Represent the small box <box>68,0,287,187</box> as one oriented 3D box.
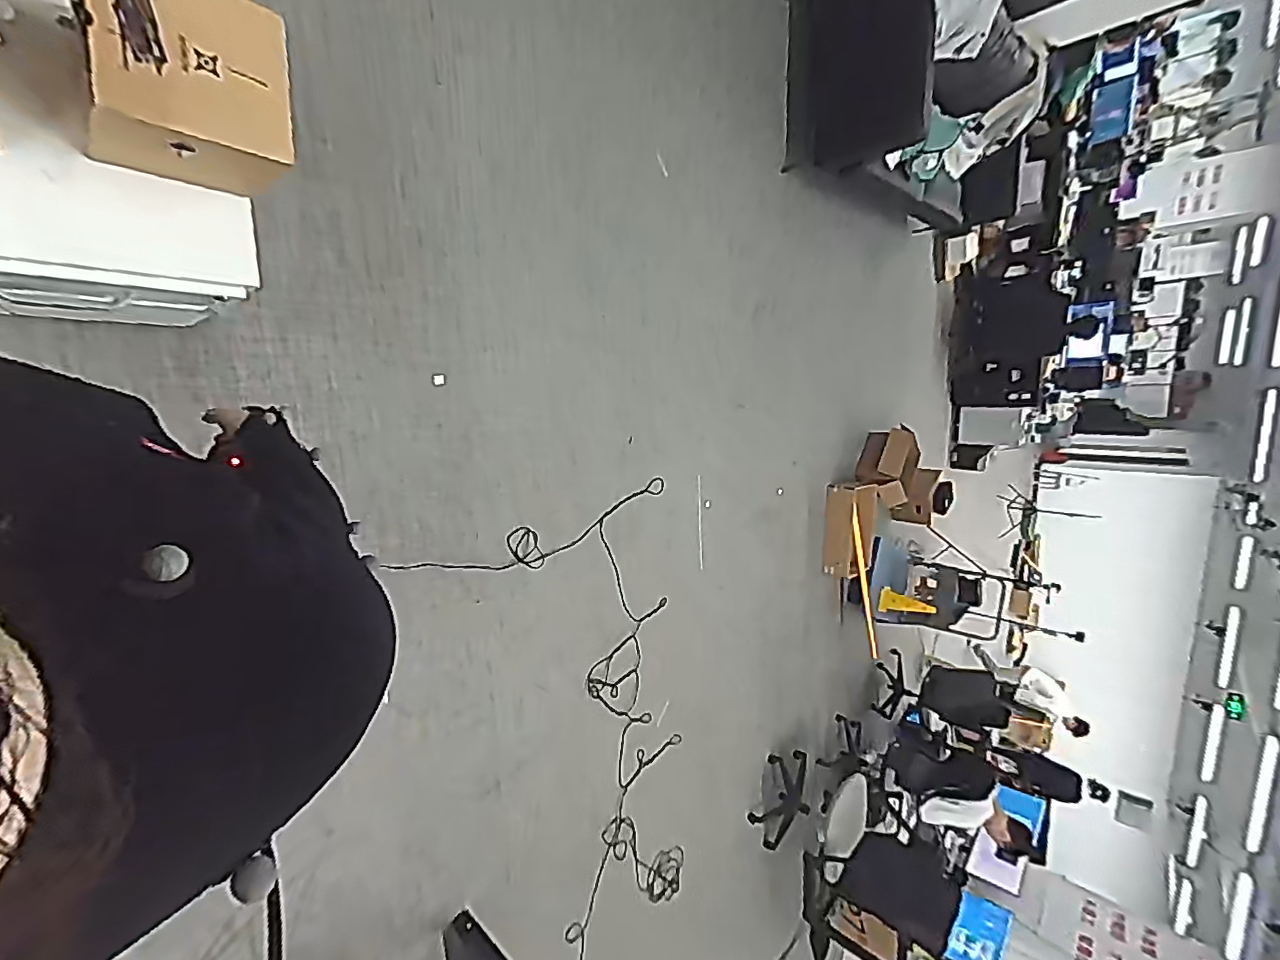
[{"bbox_3d":[-0.543,-0.471,0.636,0.179,0.176,0.168,-7,101,-47],"label":"small box"}]
